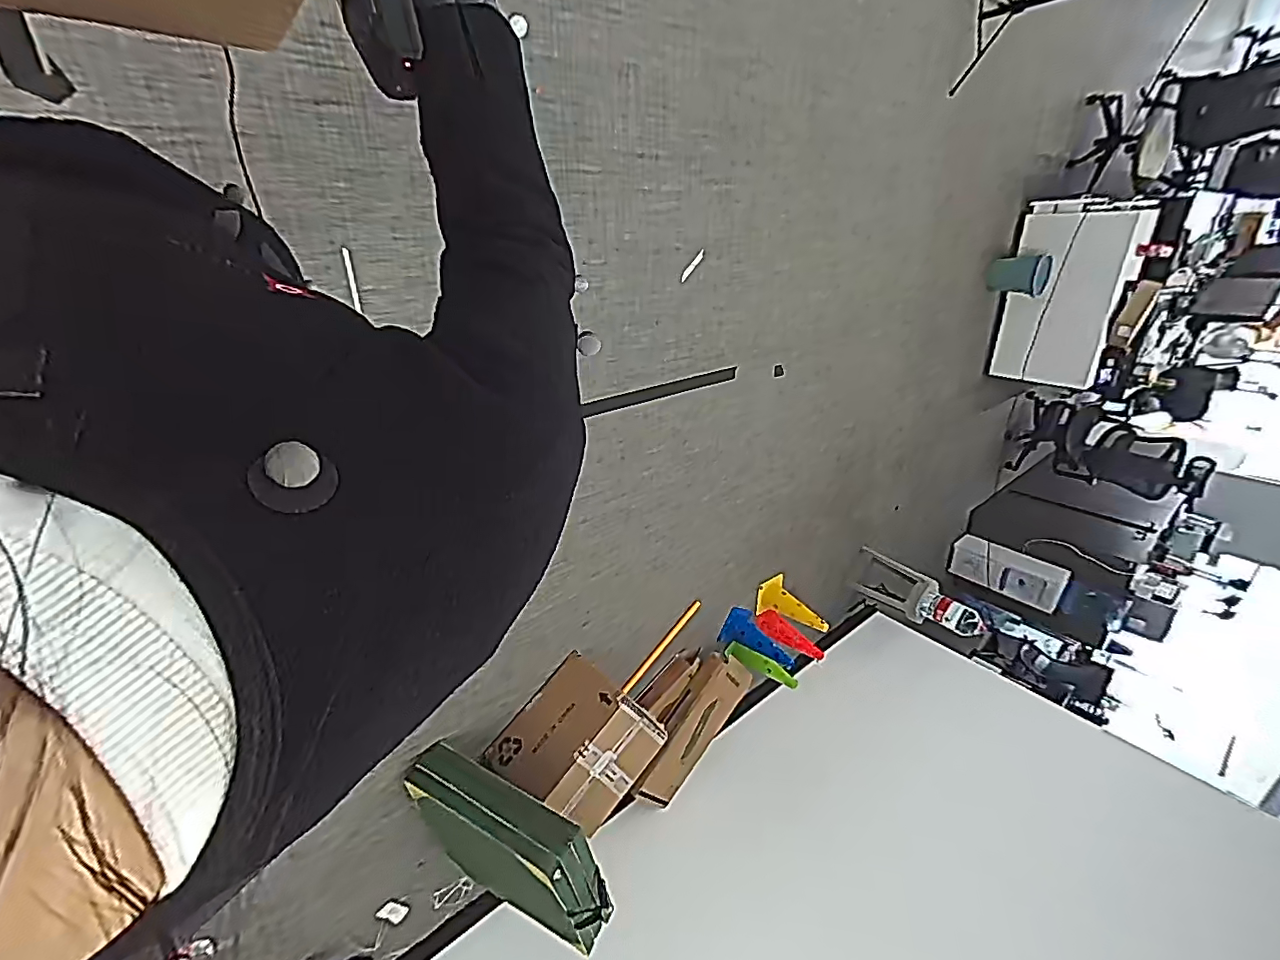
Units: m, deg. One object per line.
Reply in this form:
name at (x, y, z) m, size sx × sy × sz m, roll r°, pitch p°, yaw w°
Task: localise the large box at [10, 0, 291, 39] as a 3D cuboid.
large box at (-0.413, -0.445, 0.232) m, size 0.408 × 0.320 × 0.320 m, roll -18°, pitch 123°, yaw -34°
